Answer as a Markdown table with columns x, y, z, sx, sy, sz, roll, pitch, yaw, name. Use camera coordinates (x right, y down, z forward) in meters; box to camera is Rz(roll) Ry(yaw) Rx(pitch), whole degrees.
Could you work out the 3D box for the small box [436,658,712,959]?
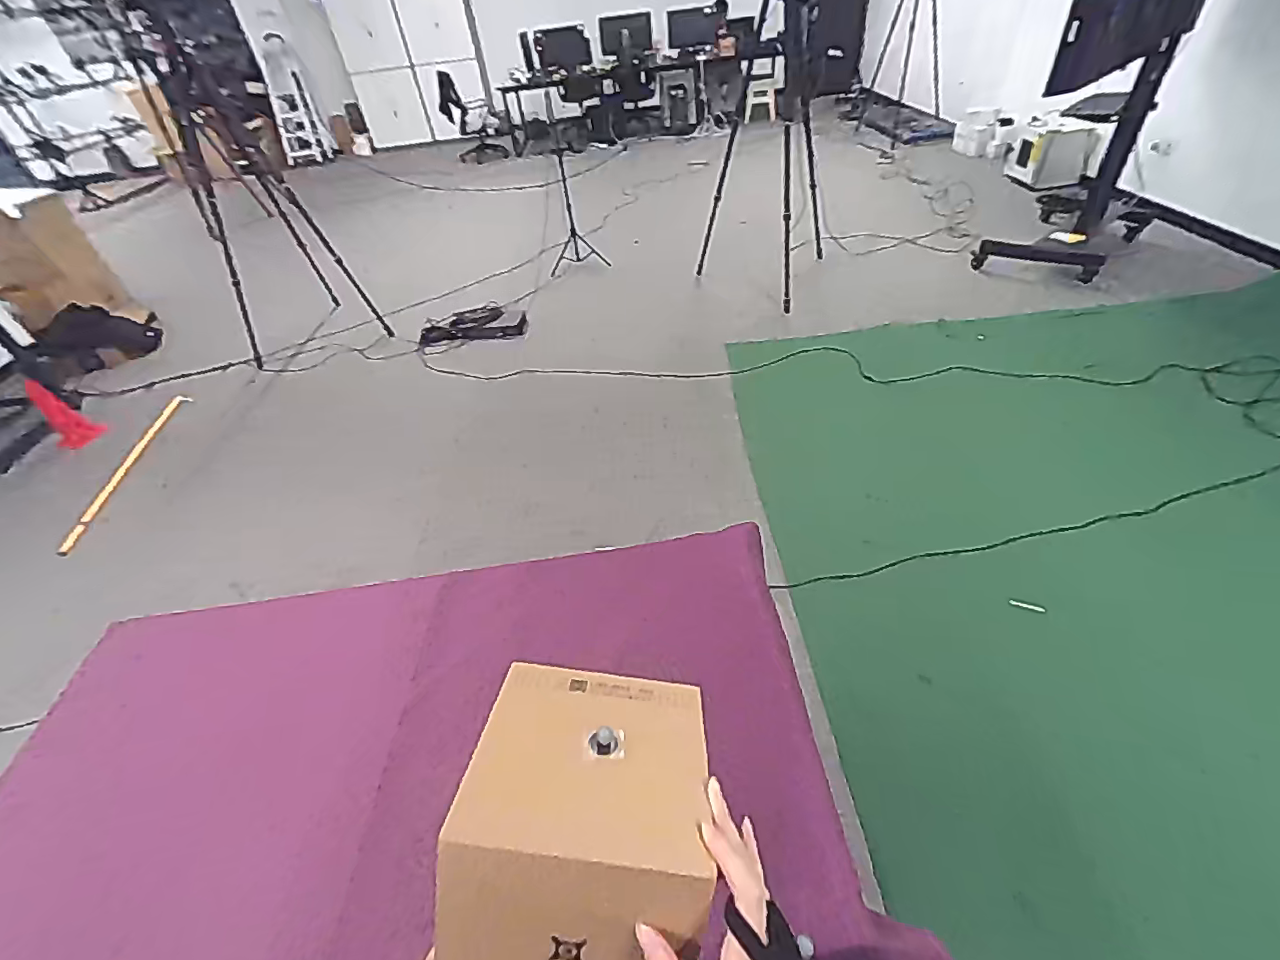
| x | y | z | sx | sy | sz | roll | pitch | yaw | name |
| --- | --- | --- | --- | --- | --- | --- | --- | --- | --- |
| -0.046 | 0.267 | 0.424 | 0.168 | 0.179 | 0.176 | 8 | 19 | 0 | small box |
